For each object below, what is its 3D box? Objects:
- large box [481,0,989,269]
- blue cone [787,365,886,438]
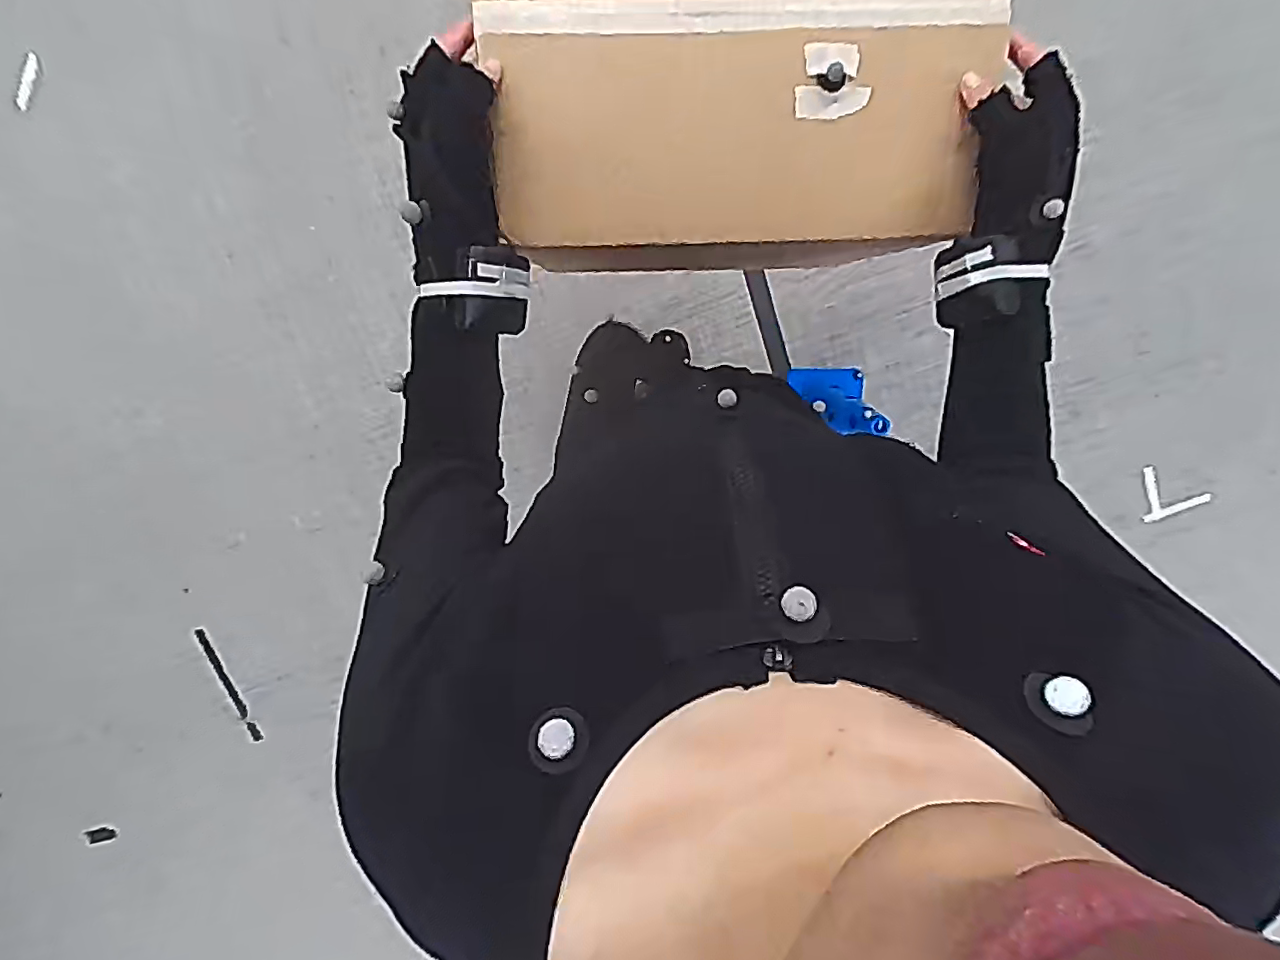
[{"bbox_3d":[0.068,-0.404,0.561,0.408,0.320,0.320,-2,107,-2],"label":"large box"},{"bbox_3d":[0.482,-0.169,1.271,0.193,0.380,0.192,1,103,1],"label":"blue cone"}]
